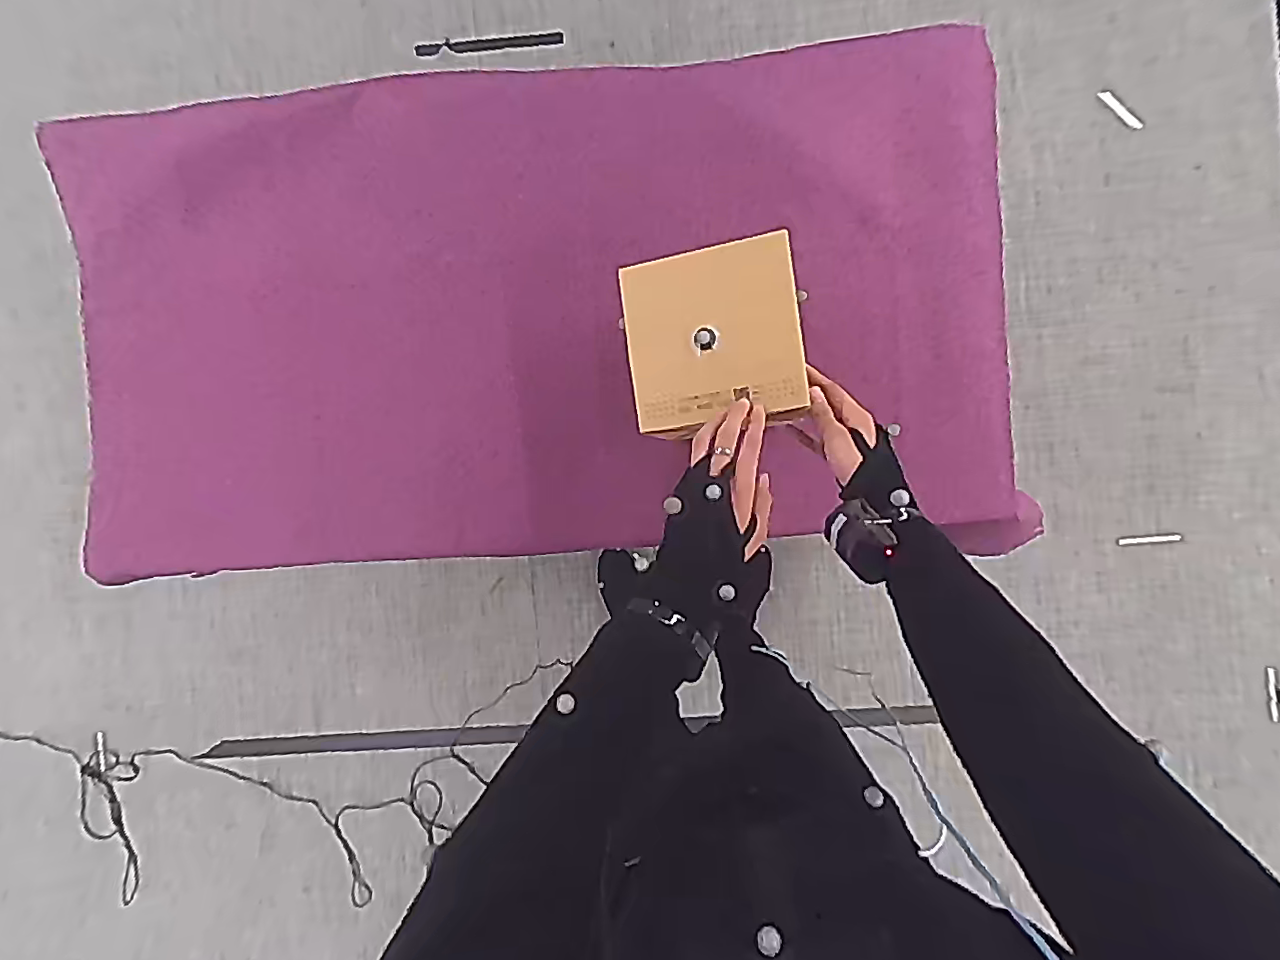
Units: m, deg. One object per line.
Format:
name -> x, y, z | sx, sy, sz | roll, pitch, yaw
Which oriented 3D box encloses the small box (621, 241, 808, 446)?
small box -> 0.090, -0.133, 0.602 | 0.168, 0.179, 0.176 | -7, 90, 15
